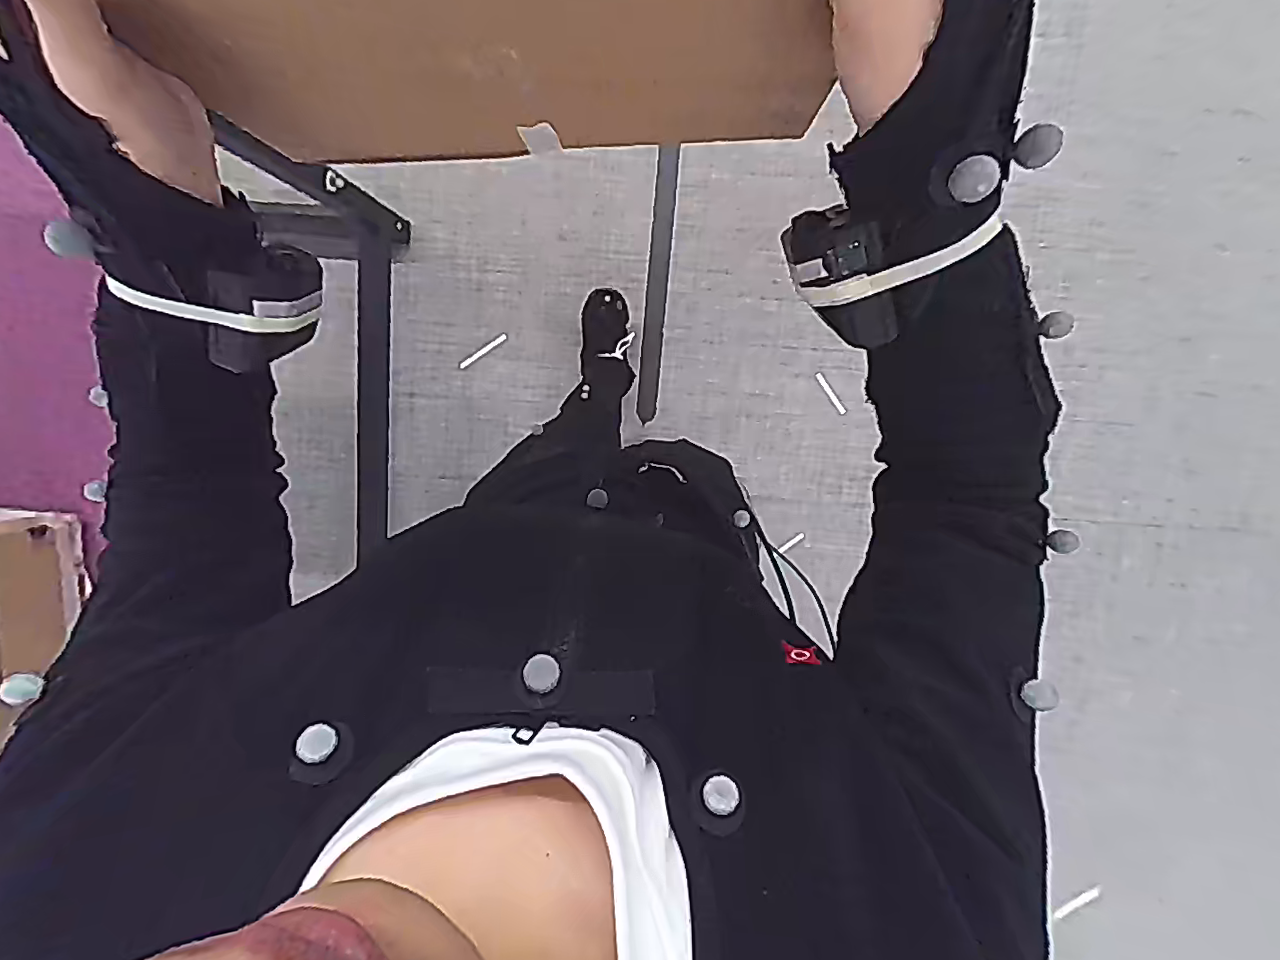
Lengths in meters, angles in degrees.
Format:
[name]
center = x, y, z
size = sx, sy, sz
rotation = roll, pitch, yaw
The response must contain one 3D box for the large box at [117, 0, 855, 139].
[large box]
center = -0.068, -0.381, 0.144
size = 0.320, 0.320, 0.408
rotation = -2, 100, 3
